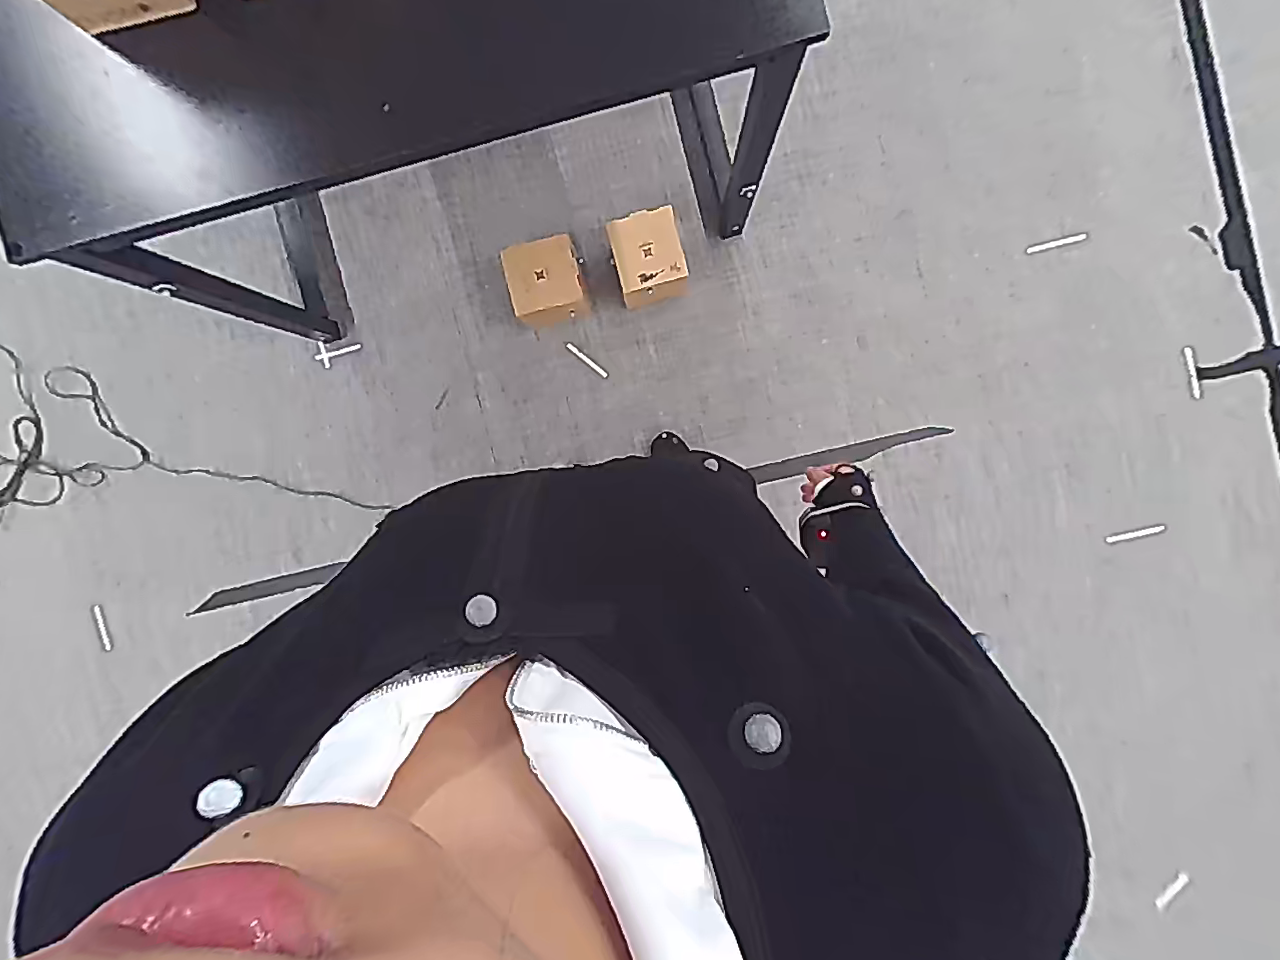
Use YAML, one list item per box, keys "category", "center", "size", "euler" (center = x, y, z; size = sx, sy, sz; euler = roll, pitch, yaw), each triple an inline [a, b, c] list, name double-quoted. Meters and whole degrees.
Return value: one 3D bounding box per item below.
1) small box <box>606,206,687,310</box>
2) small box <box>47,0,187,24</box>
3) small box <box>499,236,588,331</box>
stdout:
- category: "small box"
  center: [0.017, -0.559, 1.382]
  size: [0.168, 0.176, 0.179]
  euler: [-15, 92, 4]
- category: "small box"
  center: [-0.718, -0.719, 0.673]
  size: [0.168, 0.176, 0.179]
  euler: [-11, 93, 2]
- category: "small box"
  center: [-0.239, -0.501, 1.398]
  size: [0.179, 0.176, 0.168]
  euler: [-14, 92, 4]
